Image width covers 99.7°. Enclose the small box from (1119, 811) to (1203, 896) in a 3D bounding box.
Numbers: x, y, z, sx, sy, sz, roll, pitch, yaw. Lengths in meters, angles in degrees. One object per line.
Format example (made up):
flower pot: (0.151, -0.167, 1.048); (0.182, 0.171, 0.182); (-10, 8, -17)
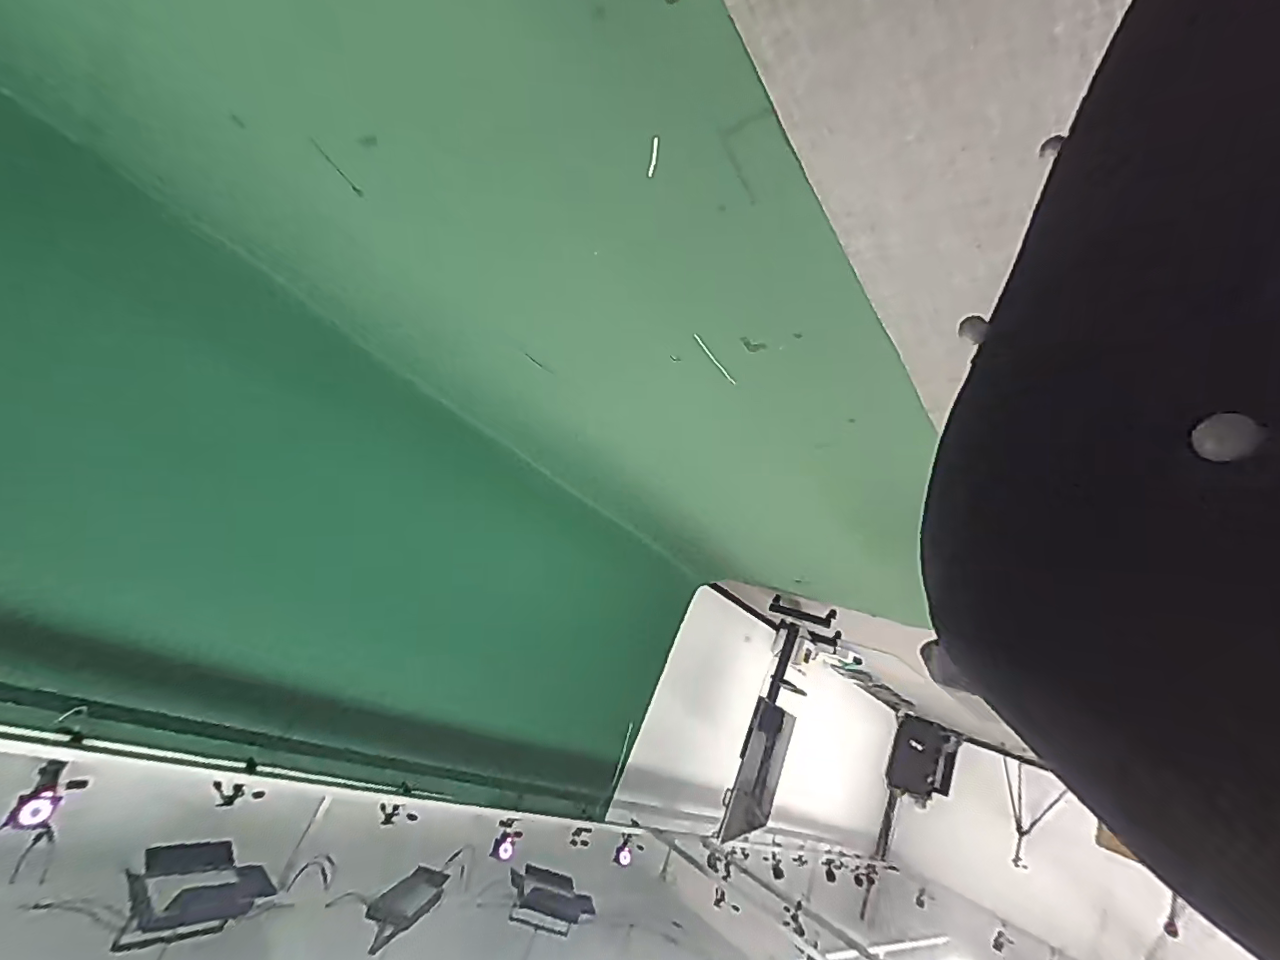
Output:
small box: (1.642, 1.172, 1.707); (0.179, 0.176, 0.168); (6, 155, 45)
